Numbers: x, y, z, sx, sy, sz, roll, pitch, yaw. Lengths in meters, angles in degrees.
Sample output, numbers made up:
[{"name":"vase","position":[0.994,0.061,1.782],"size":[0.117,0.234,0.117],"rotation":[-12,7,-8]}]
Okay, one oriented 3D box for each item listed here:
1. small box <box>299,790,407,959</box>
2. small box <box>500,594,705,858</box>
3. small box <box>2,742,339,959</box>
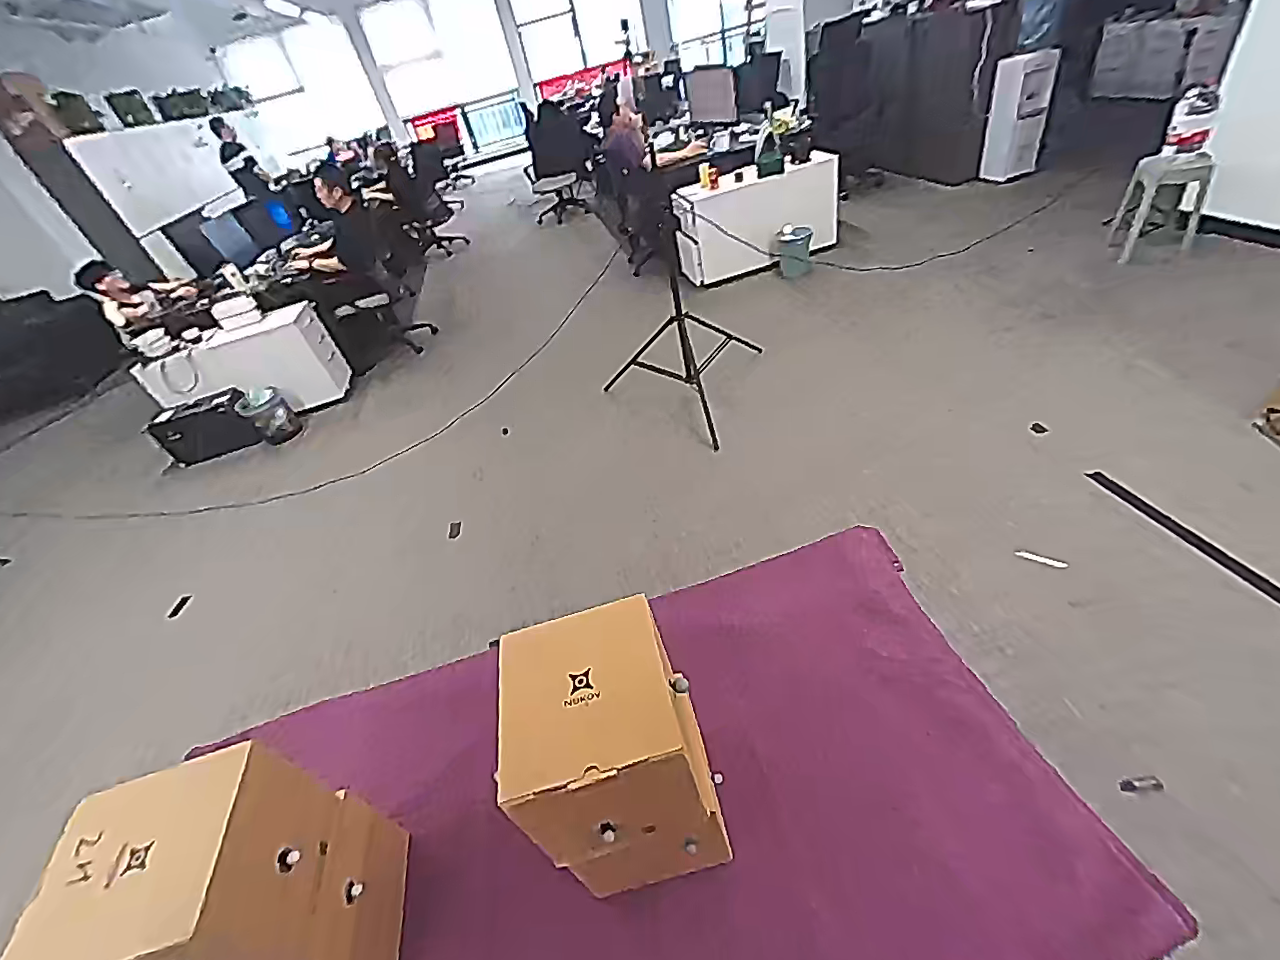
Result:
[{"name":"small box","position":[-0.399,0.514,0.644],"size":[0.168,0.176,0.179],"rotation":[-18,39,-3]},{"name":"small box","position":[-0.039,0.257,0.571],"size":[0.168,0.176,0.179],"rotation":[-17,39,-1]},{"name":"small box","position":[-0.433,0.397,0.532],"size":[0.179,0.176,0.168],"rotation":[-18,39,-4]}]
